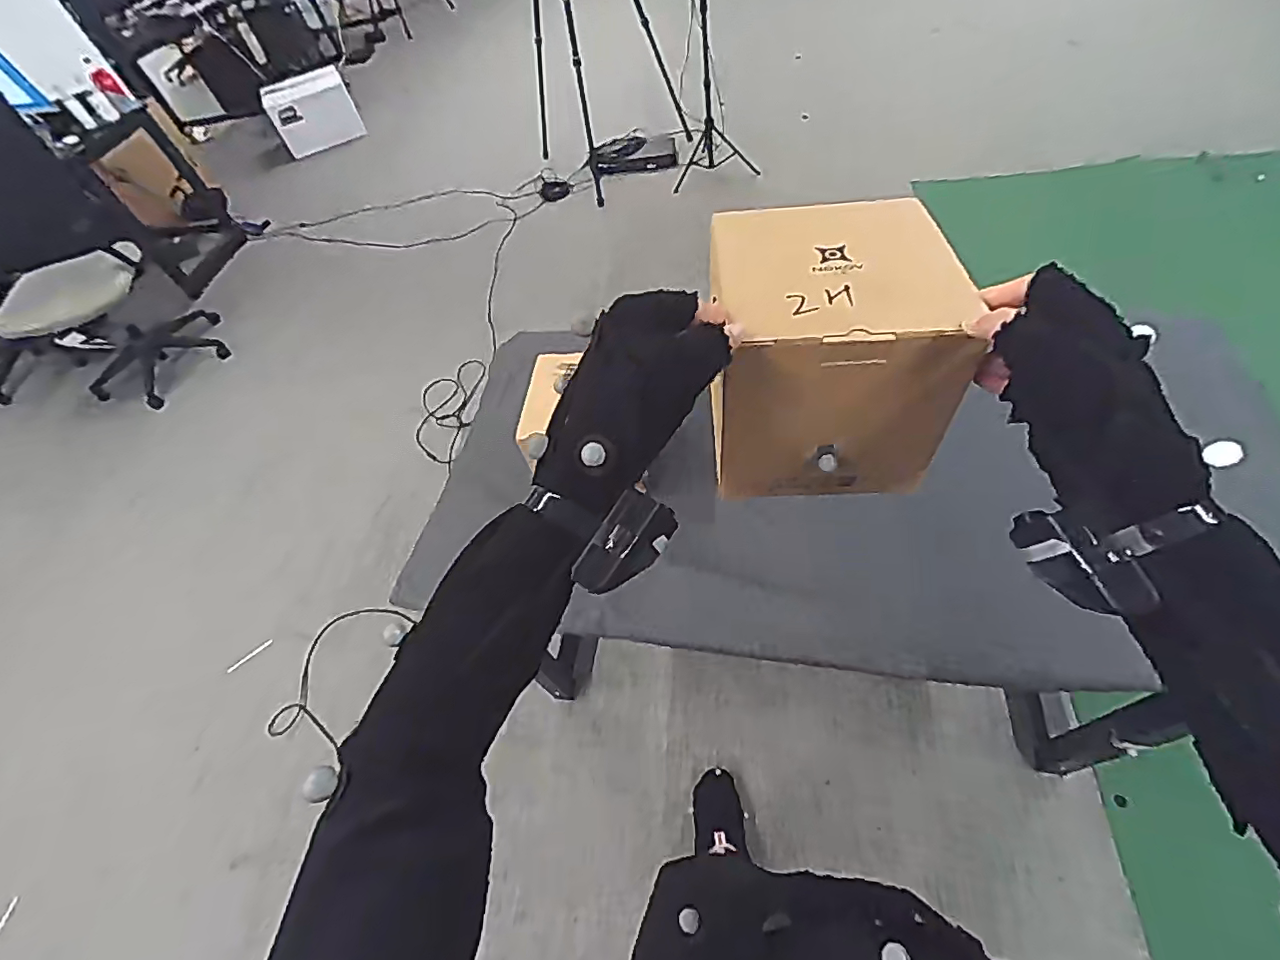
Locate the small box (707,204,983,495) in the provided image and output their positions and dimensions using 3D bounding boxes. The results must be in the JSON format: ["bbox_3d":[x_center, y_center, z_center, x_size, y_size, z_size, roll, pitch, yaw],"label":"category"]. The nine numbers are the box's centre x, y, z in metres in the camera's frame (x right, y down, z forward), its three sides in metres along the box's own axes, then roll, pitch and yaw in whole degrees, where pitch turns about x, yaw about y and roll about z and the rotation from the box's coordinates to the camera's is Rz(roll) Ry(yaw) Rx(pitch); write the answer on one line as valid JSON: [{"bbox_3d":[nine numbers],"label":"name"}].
[{"bbox_3d":[0.142,-0.105,0.456,0.168,0.176,0.179,-2,52,5],"label":"small box"}]
